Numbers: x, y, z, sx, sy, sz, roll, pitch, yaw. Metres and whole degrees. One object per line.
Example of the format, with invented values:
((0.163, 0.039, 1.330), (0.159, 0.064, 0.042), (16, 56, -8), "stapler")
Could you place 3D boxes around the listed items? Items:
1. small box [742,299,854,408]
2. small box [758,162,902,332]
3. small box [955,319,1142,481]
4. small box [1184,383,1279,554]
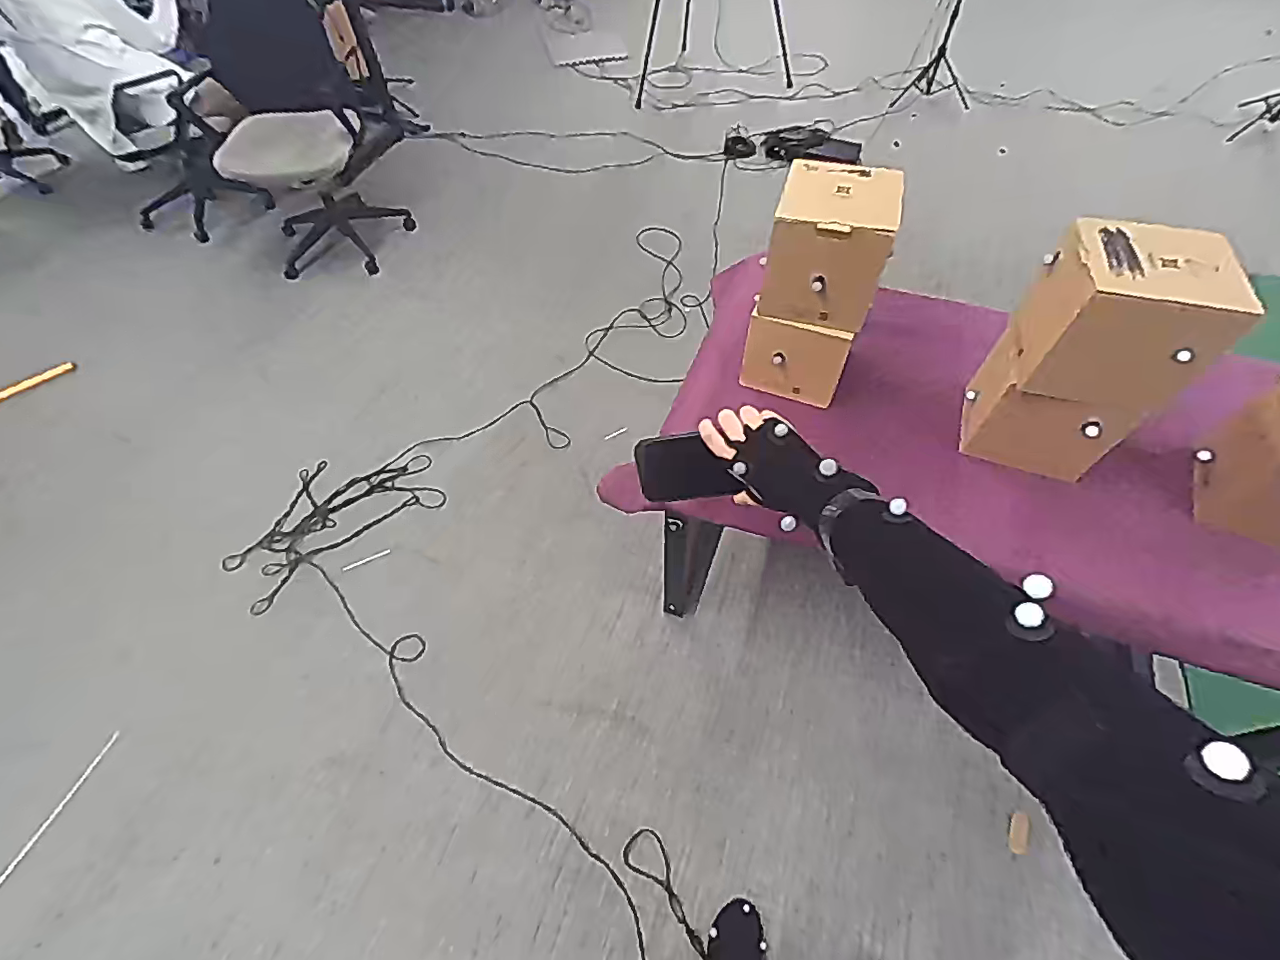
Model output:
((0.290, -0.258, 0.973), (0.168, 0.176, 0.179), (19, 58, 15), "small box")
((0.287, -0.358, 0.842), (0.168, 0.176, 0.179), (15, 58, 12), "small box")
((0.639, -0.122, 0.862), (0.179, 0.176, 0.168), (19, 58, 15), "small box")
((0.945, -0.005, 0.770), (0.179, 0.176, 0.168), (24, 59, 18), "small box")
